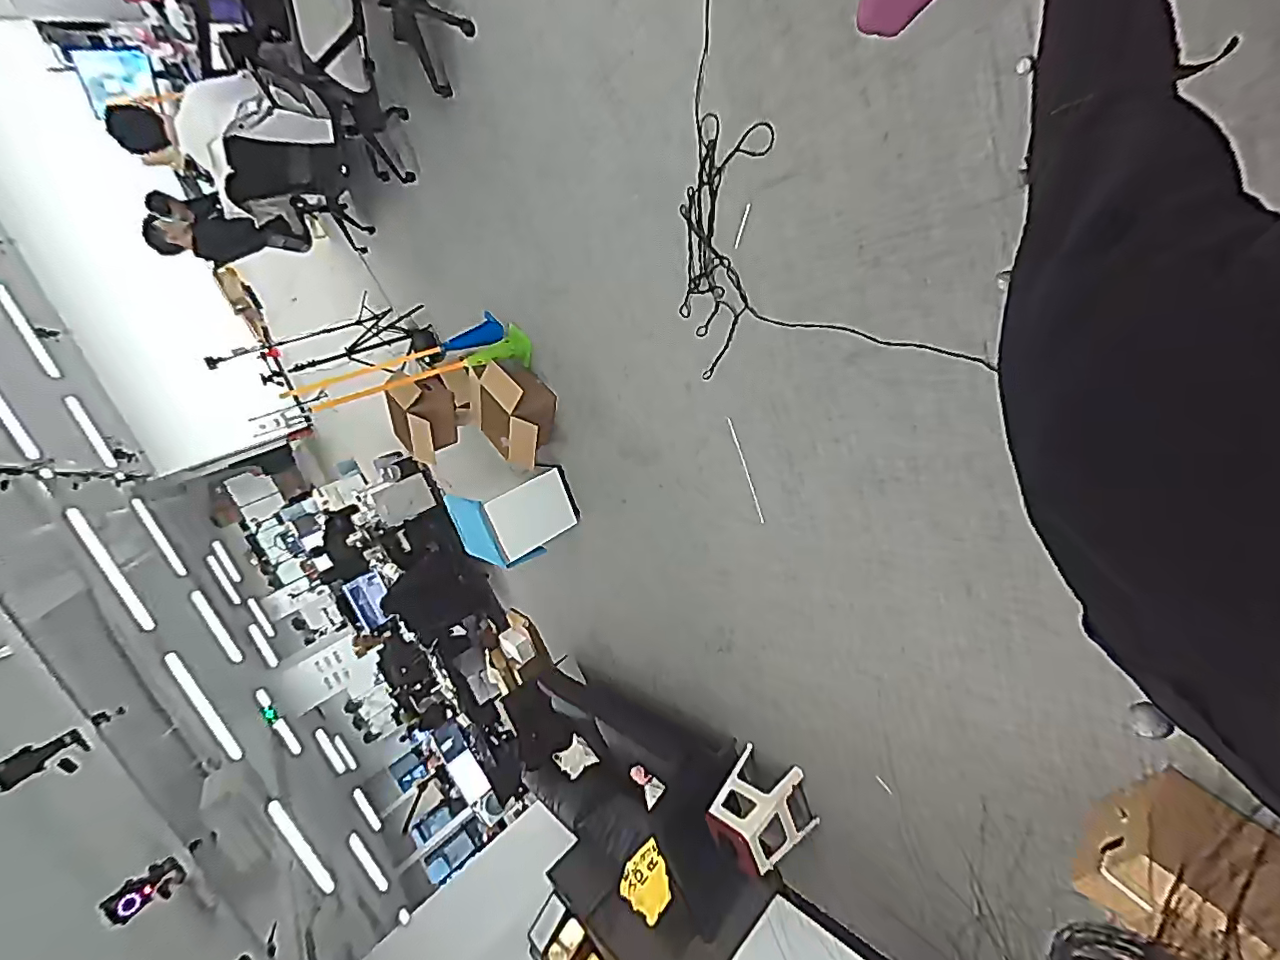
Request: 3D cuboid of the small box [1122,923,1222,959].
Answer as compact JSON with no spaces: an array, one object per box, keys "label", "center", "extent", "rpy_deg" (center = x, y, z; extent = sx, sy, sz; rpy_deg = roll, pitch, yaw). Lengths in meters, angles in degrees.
[{"label":"small box","center":[1.266,1.186,1.262],"extent":[0.179,0.176,0.168],"rpy_deg":[34,140,35]}]
